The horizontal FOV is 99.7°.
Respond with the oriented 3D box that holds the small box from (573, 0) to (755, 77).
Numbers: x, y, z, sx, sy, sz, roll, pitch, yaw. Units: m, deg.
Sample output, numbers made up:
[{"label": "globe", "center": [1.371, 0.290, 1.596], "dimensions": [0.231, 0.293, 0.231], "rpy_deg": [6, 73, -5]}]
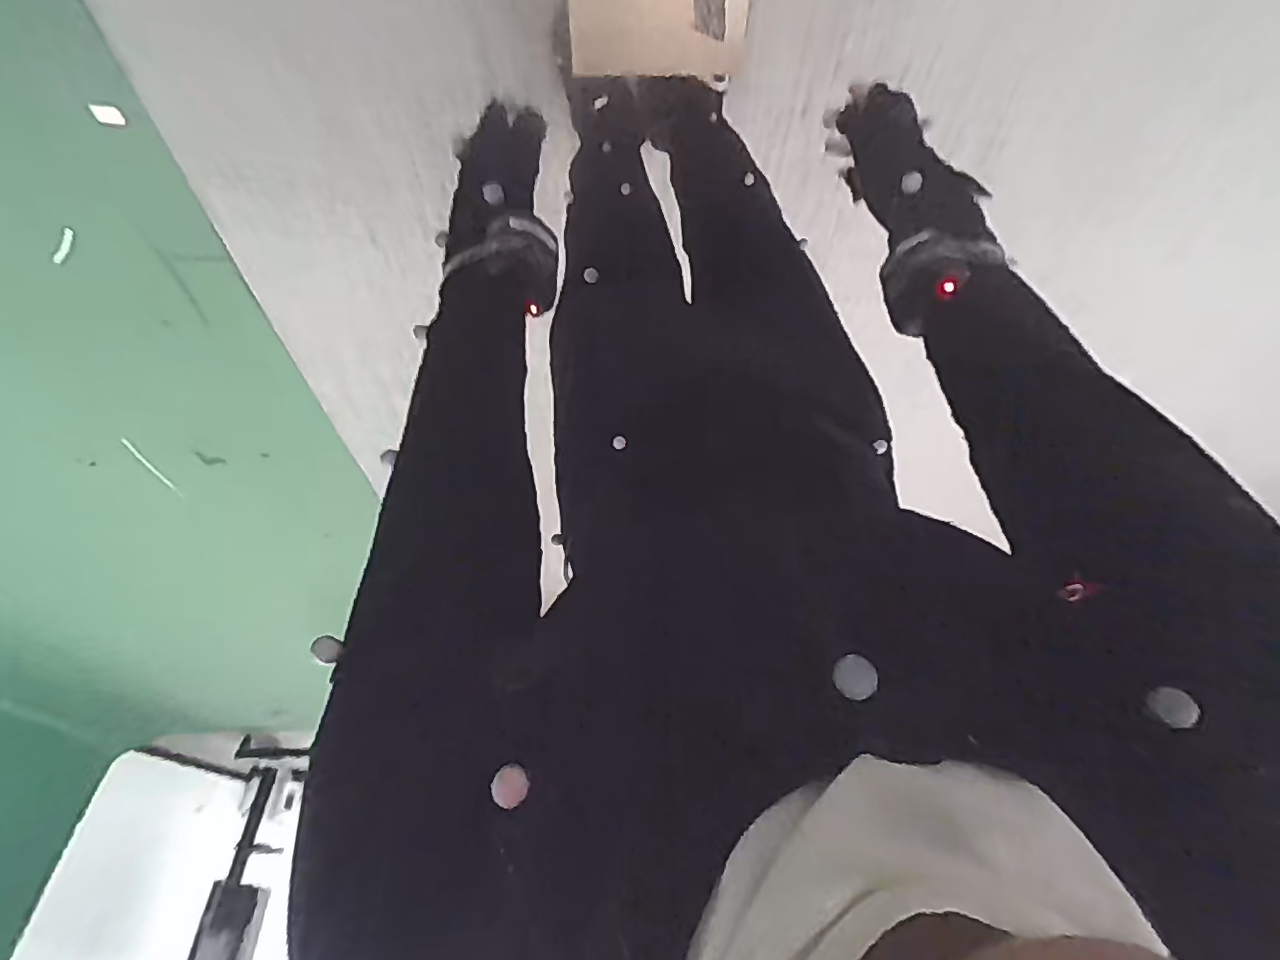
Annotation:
[{"label": "small box", "center": [0.022, -0.533, 0.542], "dimensions": [0.179, 0.176, 0.168], "rpy_deg": [1, 141, -3]}]
